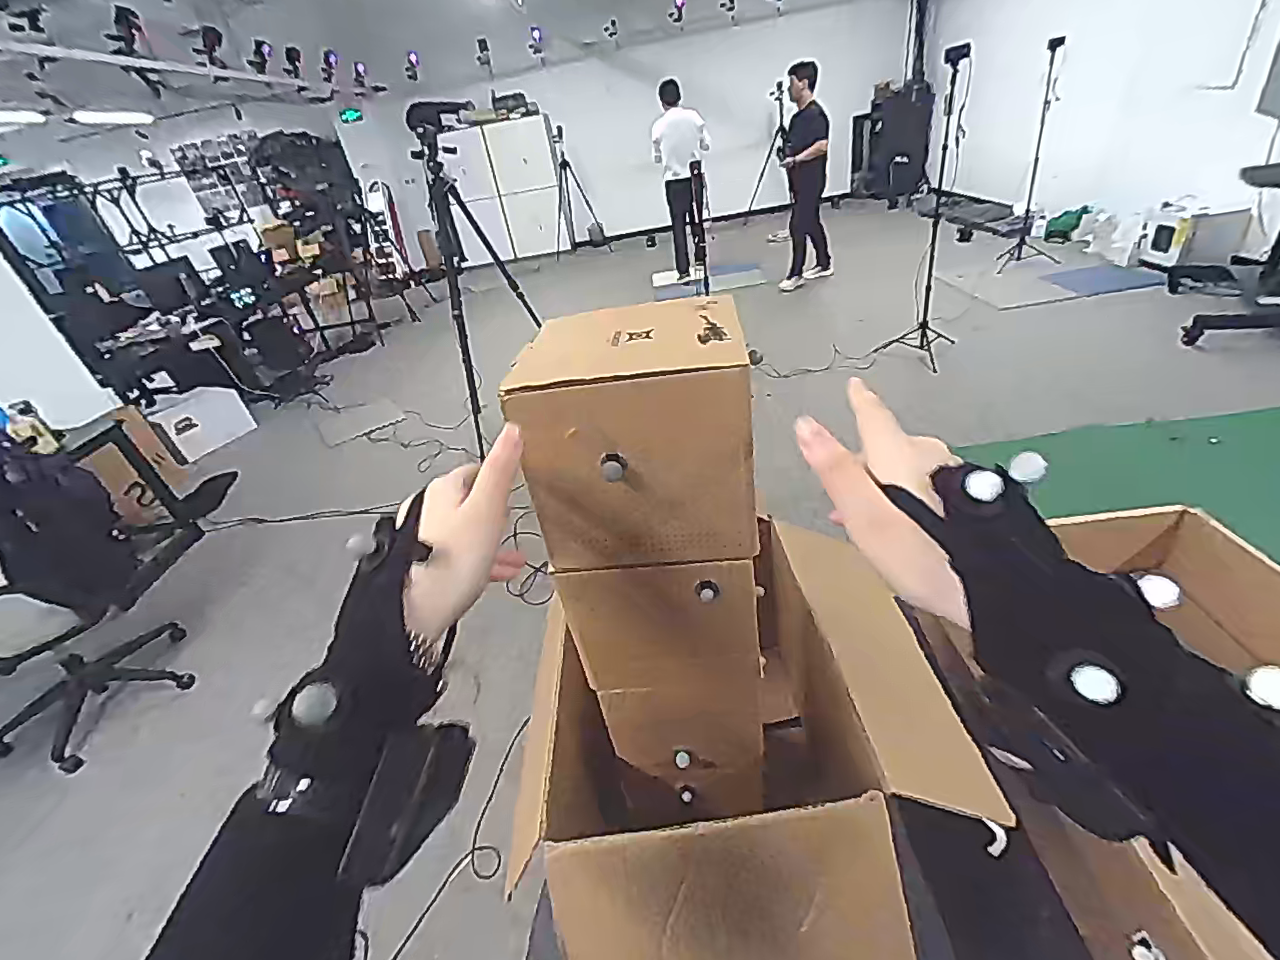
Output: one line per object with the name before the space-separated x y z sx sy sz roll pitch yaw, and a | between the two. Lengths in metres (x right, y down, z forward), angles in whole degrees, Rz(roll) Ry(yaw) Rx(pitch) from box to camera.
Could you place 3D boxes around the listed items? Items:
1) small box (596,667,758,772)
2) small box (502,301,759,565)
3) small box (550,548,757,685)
small box | 0.050 0.226 0.658 0.168 0.176 0.179 -6 35 7
small box | 0.006 -0.040 0.474 0.179 0.176 0.168 -5 34 8
small box | 0.024 0.095 0.566 0.179 0.176 0.168 -5 34 8
